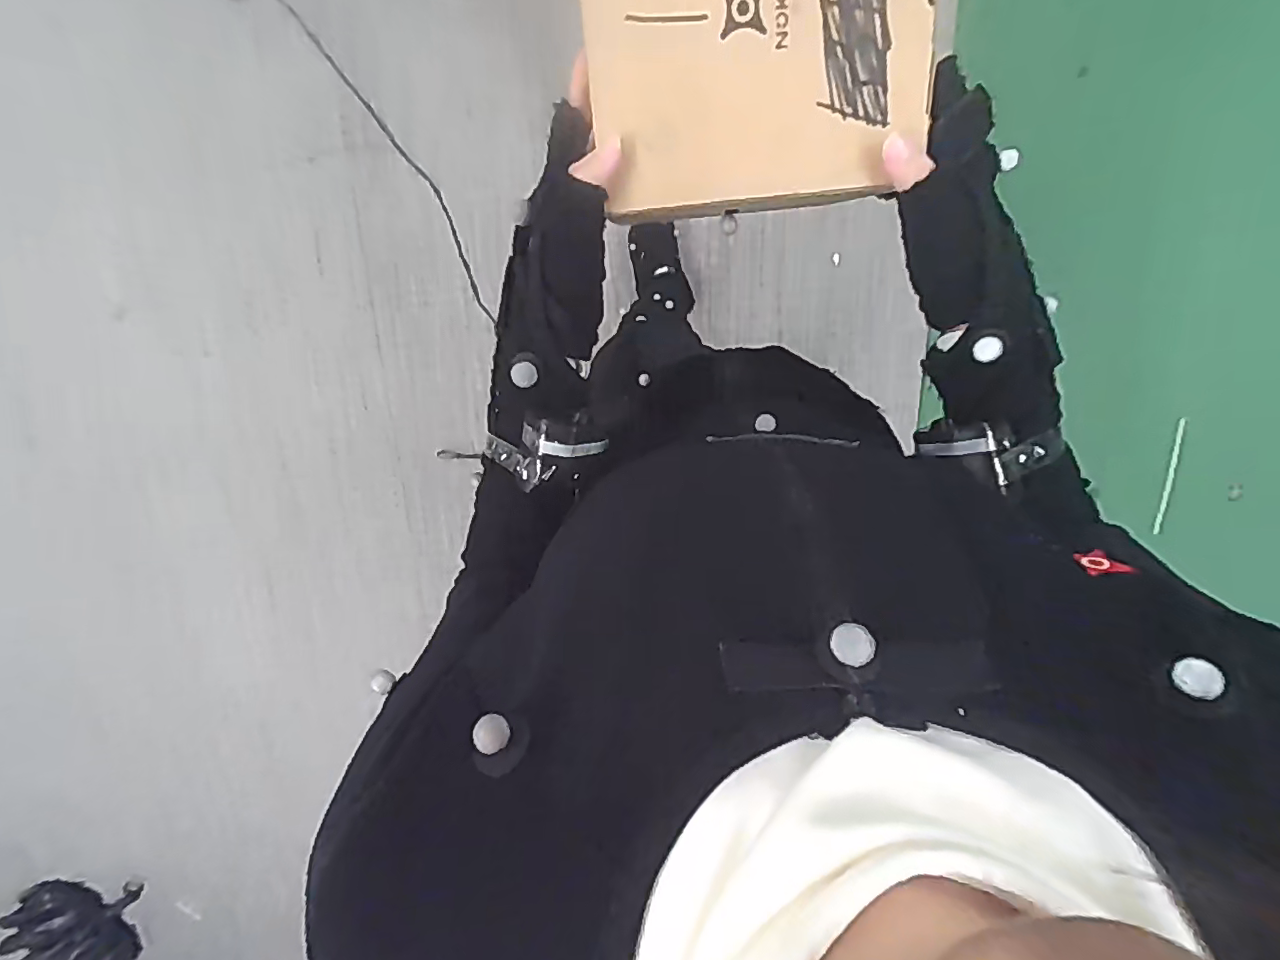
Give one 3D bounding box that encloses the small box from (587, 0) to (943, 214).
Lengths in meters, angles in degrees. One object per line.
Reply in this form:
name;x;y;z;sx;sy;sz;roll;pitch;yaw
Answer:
small box;0.060;-0.271;0.338;0.179;0.176;0.168;-9;113;2
